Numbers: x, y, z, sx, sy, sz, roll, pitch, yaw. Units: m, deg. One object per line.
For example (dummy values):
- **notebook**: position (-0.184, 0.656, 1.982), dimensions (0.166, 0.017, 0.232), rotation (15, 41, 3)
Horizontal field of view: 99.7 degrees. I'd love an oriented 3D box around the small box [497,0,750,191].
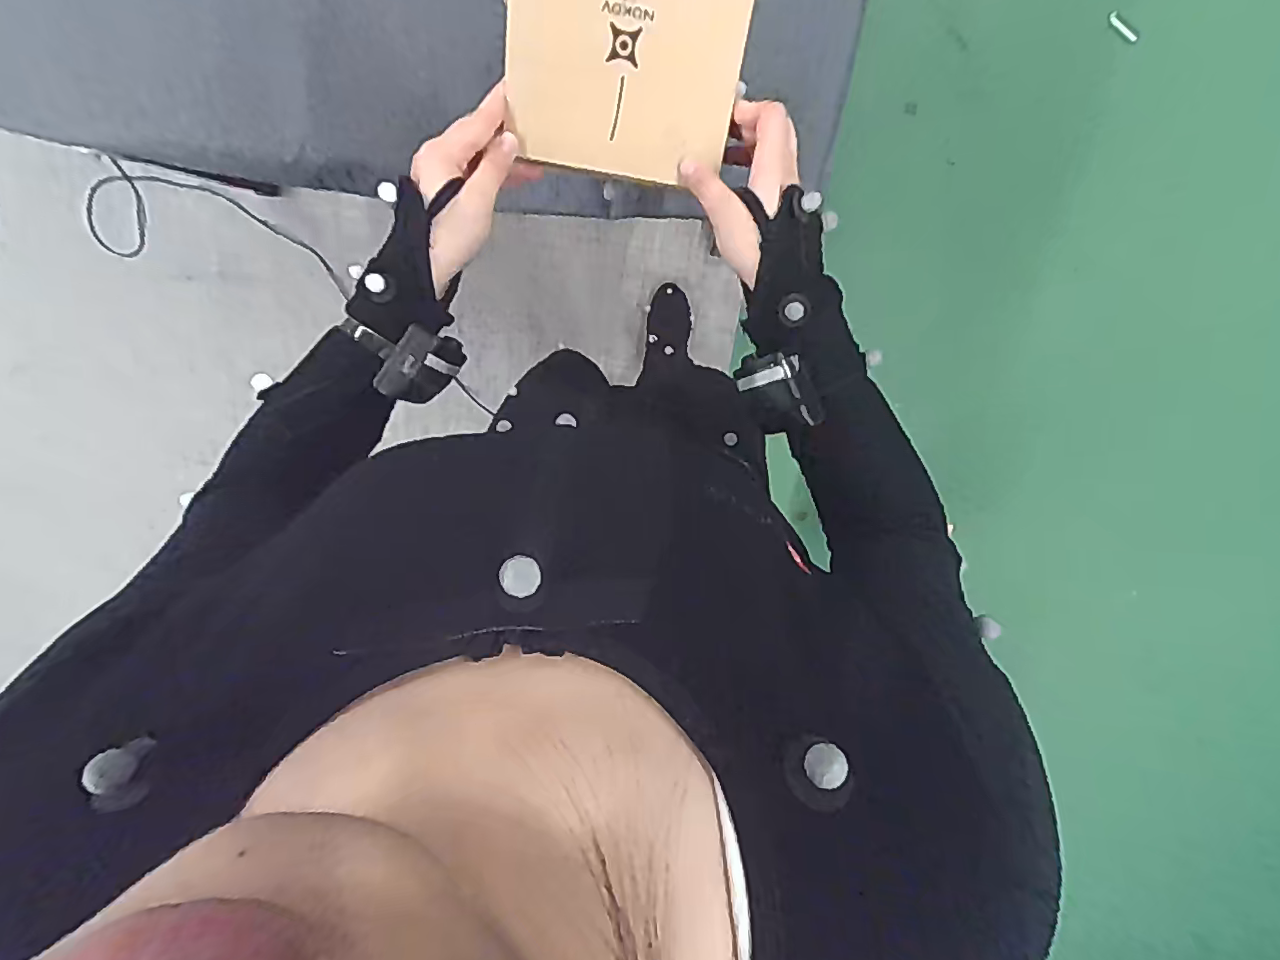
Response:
- **small box**: position (-0.010, -0.345, 0.436), dimensions (0.168, 0.176, 0.179), rotation (8, 117, -3)
